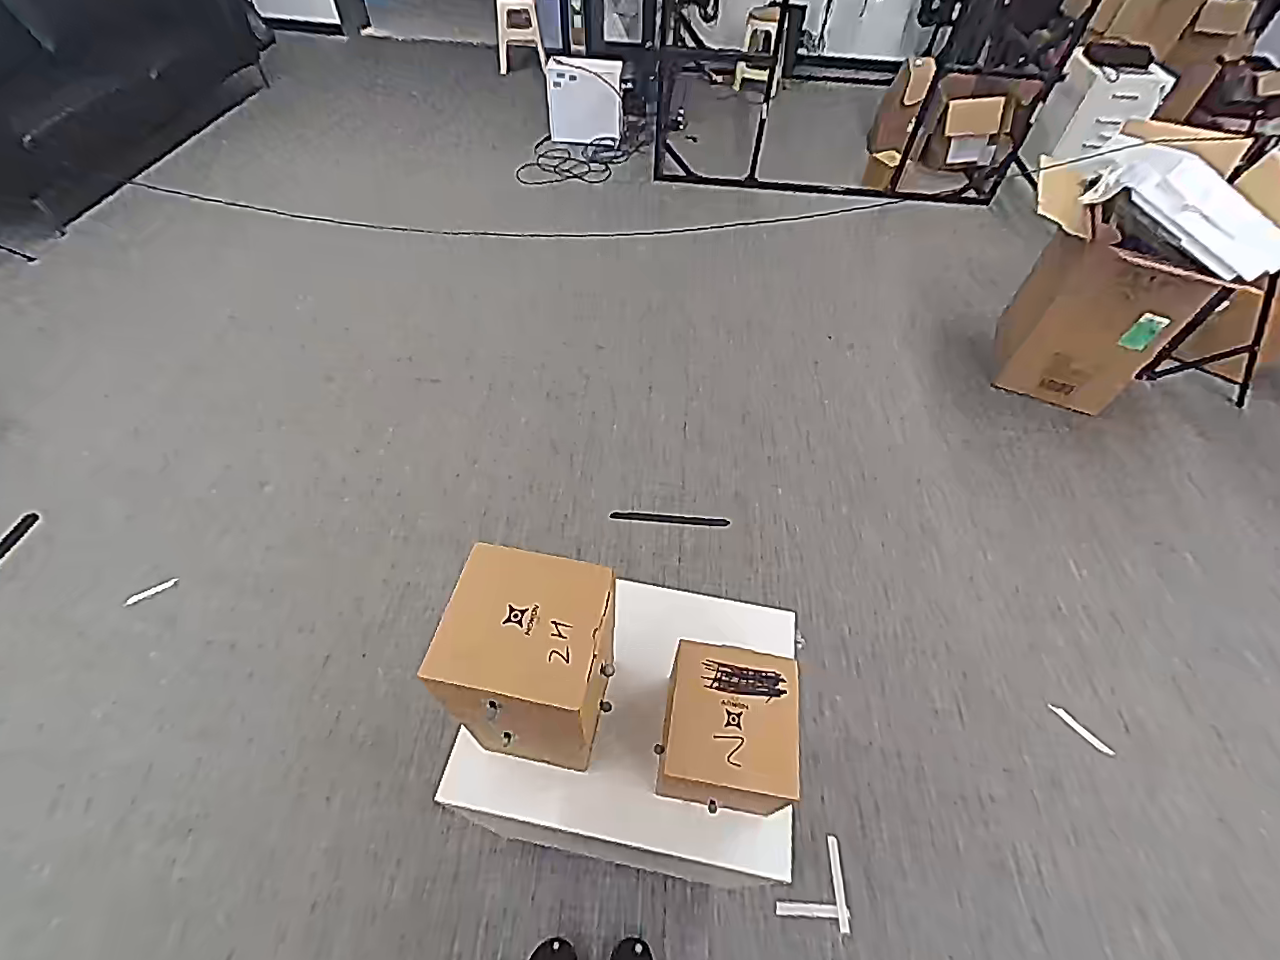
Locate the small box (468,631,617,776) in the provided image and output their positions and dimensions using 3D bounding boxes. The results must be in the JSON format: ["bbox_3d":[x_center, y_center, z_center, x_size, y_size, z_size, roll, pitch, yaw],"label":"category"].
[{"bbox_3d":[-0.134,0.304,0.787,0.168,0.176,0.179,11,51,6],"label":"small box"}]

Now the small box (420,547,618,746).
[{"bbox_3d":[-0.129,0.206,0.655,0.179,0.176,0.168,11,53,5],"label":"small box"}]
